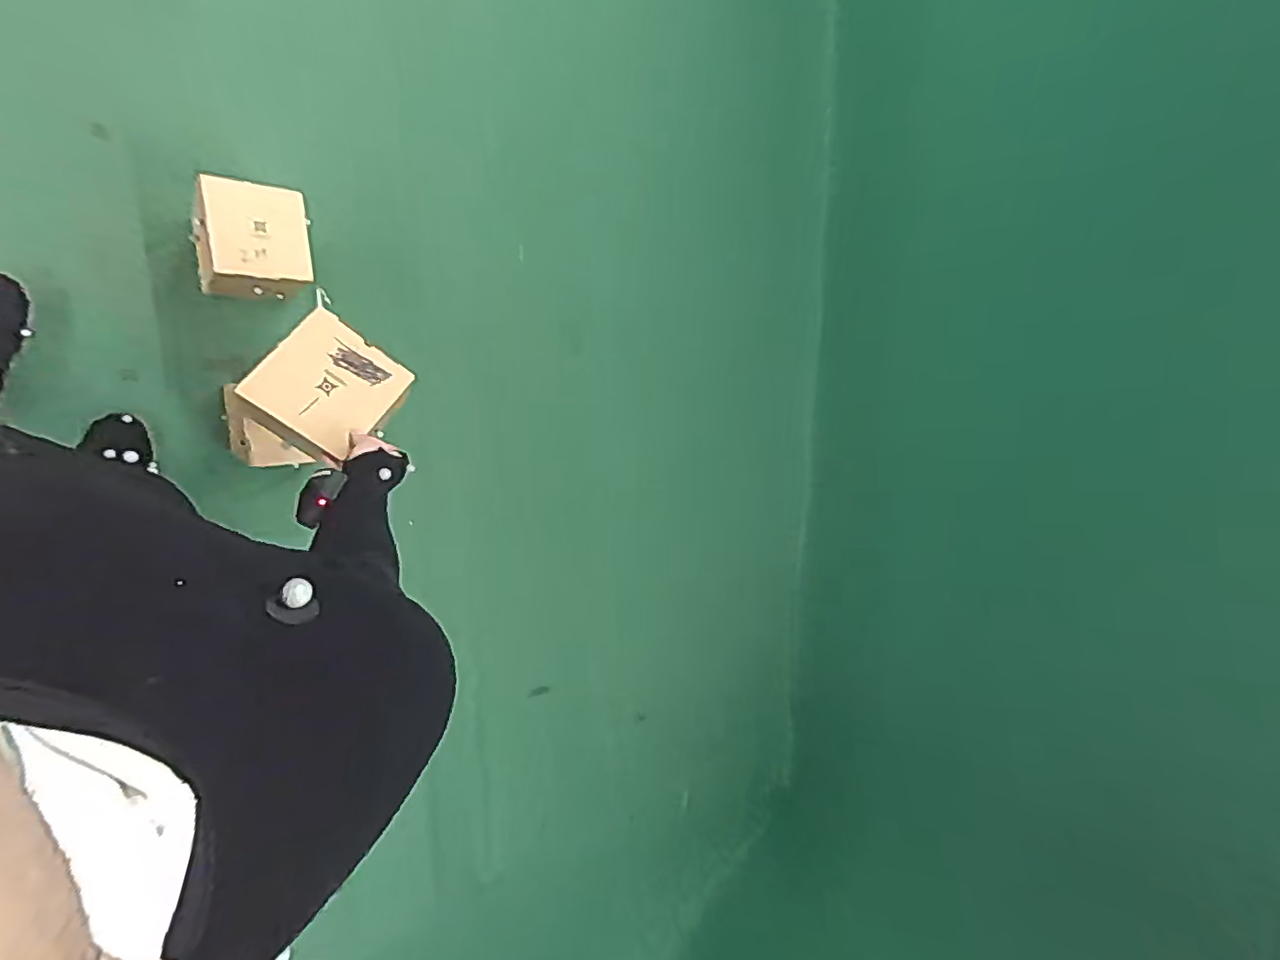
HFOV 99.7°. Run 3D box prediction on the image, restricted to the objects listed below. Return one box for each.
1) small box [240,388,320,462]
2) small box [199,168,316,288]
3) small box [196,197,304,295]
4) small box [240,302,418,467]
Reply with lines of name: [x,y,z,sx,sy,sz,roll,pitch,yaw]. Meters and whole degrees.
small box: [-0.765,-0.136,1.192,0.179,0.176,0.168,-9,105,-40]
small box: [-0.786,-0.503,1.109,0.168,0.176,0.179,-10,104,-40]
small box: [-0.892,-0.522,1.233,0.179,0.176,0.168,-11,104,-41]
small box: [-0.487,-0.141,0.861,0.168,0.176,0.179,38,68,-19]
